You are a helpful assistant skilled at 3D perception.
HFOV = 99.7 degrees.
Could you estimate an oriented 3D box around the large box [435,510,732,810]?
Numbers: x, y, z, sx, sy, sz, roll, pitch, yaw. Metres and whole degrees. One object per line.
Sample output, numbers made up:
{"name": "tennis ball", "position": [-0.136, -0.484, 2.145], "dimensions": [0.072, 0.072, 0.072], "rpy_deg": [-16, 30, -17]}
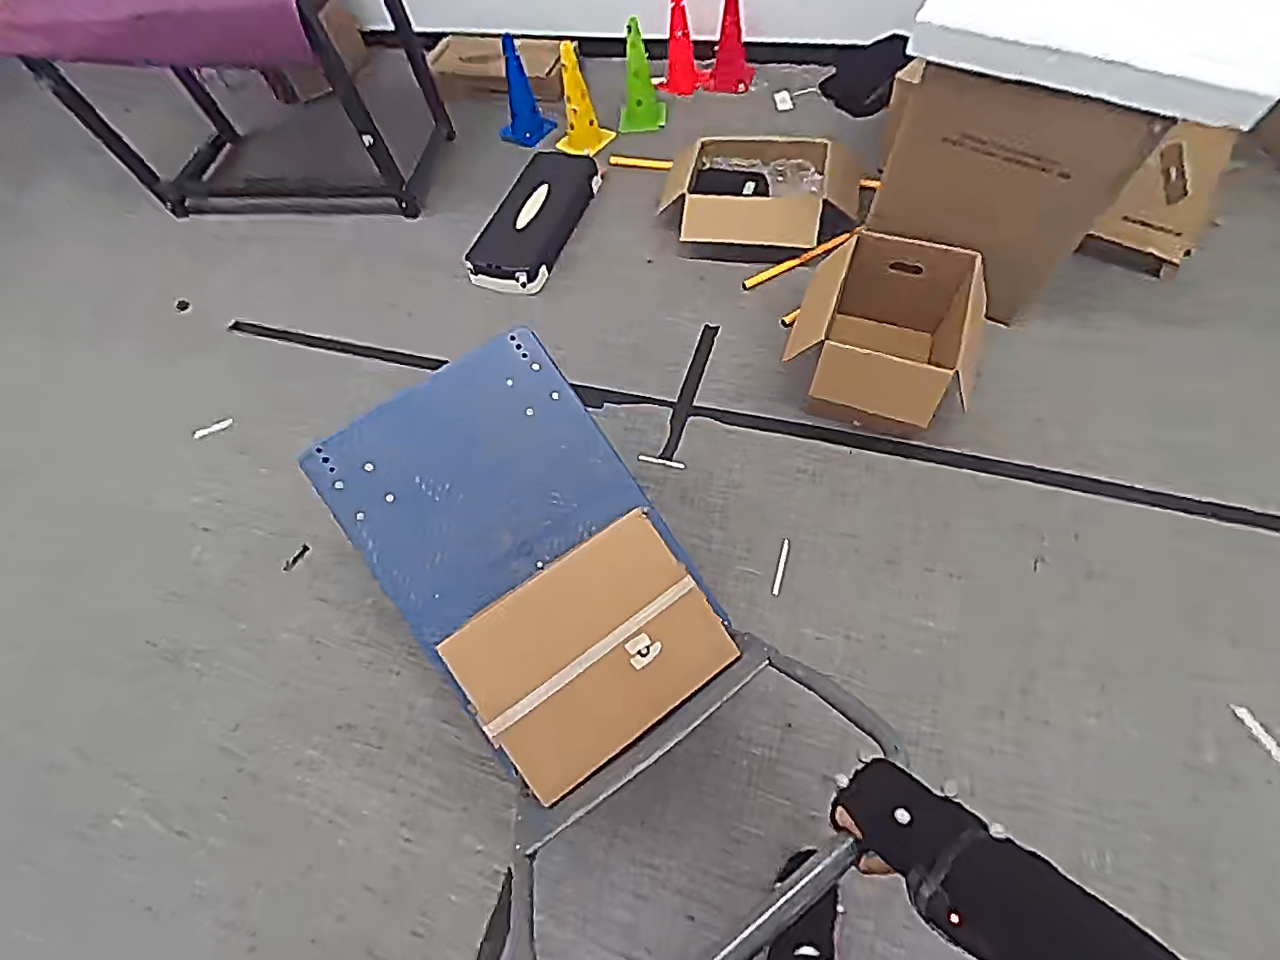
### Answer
{"name": "large box", "position": [-0.108, 0.307, 1.035], "dimensions": [0.408, 0.320, 0.320], "rpy_deg": [-35, 90, -13]}
